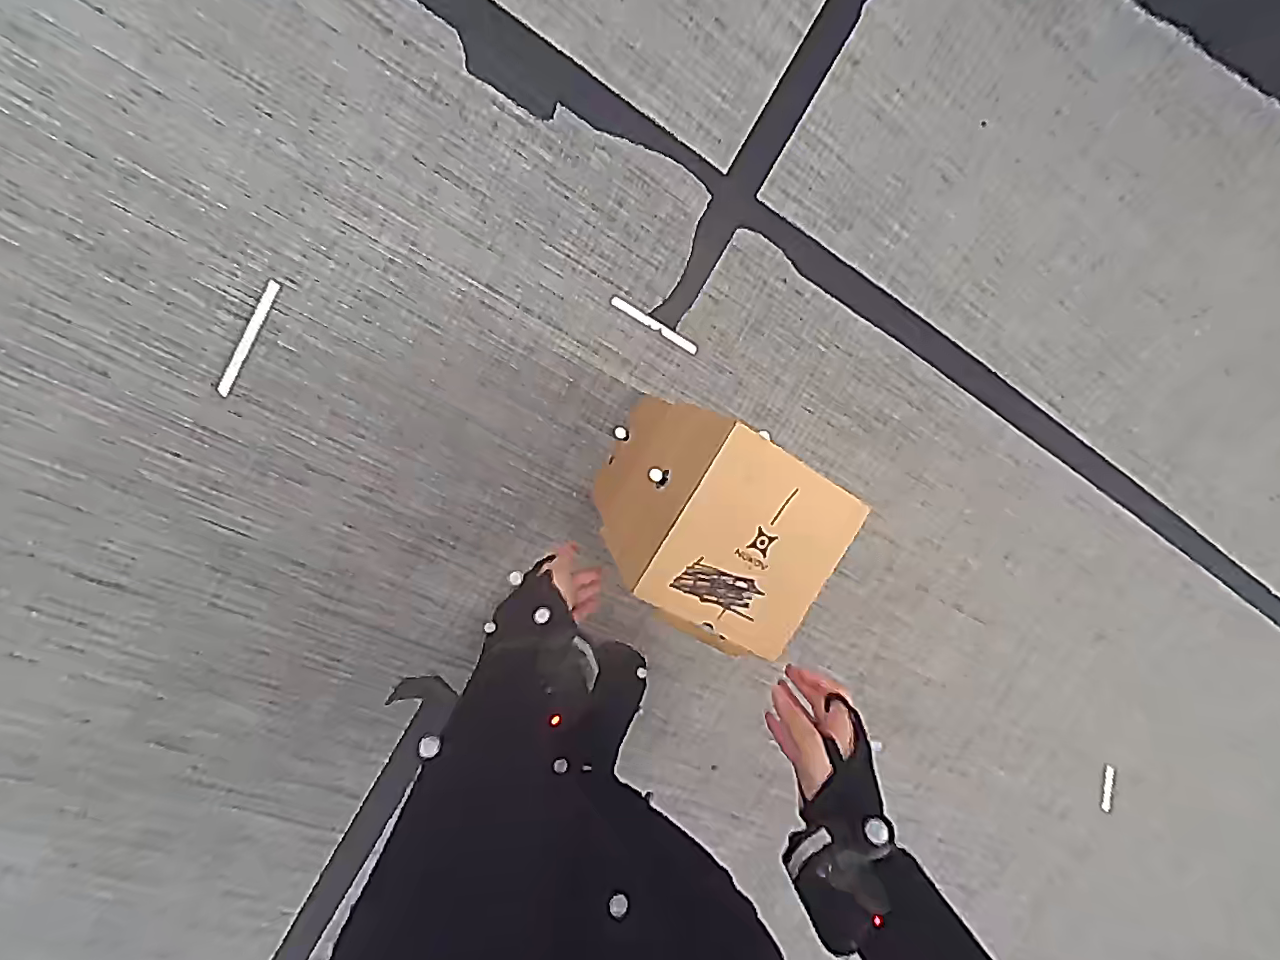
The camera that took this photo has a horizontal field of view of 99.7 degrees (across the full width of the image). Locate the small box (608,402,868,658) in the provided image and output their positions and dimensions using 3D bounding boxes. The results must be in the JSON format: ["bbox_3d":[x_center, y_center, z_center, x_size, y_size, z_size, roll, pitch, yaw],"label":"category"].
[{"bbox_3d":[0.081,0.039,0.550,0.168,0.176,0.179,30,94,-19],"label":"small box"}]

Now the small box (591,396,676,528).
[{"bbox_3d":[0.054,0.001,0.707,0.179,0.176,0.168,27,96,-17],"label":"small box"}]
